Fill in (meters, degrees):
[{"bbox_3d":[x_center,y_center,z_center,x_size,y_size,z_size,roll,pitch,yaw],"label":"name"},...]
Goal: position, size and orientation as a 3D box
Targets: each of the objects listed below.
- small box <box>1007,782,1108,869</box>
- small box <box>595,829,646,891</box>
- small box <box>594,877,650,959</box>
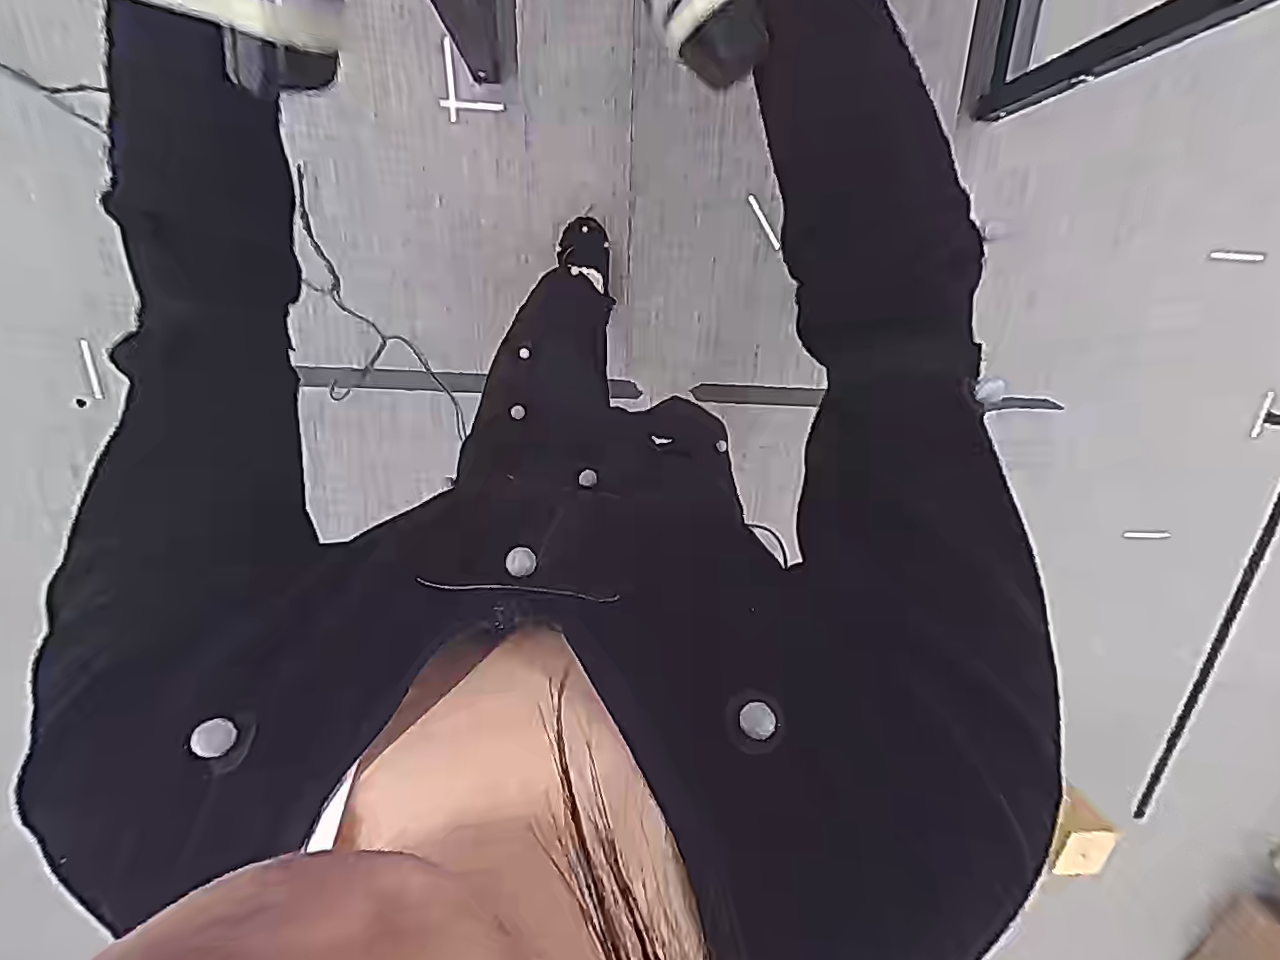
[{"bbox_3d":[1.332,1.112,1.742,0.168,0.176,0.179,4,108,-8],"label":"small box"},{"bbox_3d":[-0.068,1.342,1.871,0.168,0.176,0.179,-3,111,-3],"label":"small box"},{"bbox_3d":[-0.060,1.397,1.716,0.168,0.176,0.179,-2,110,-4],"label":"small box"}]
